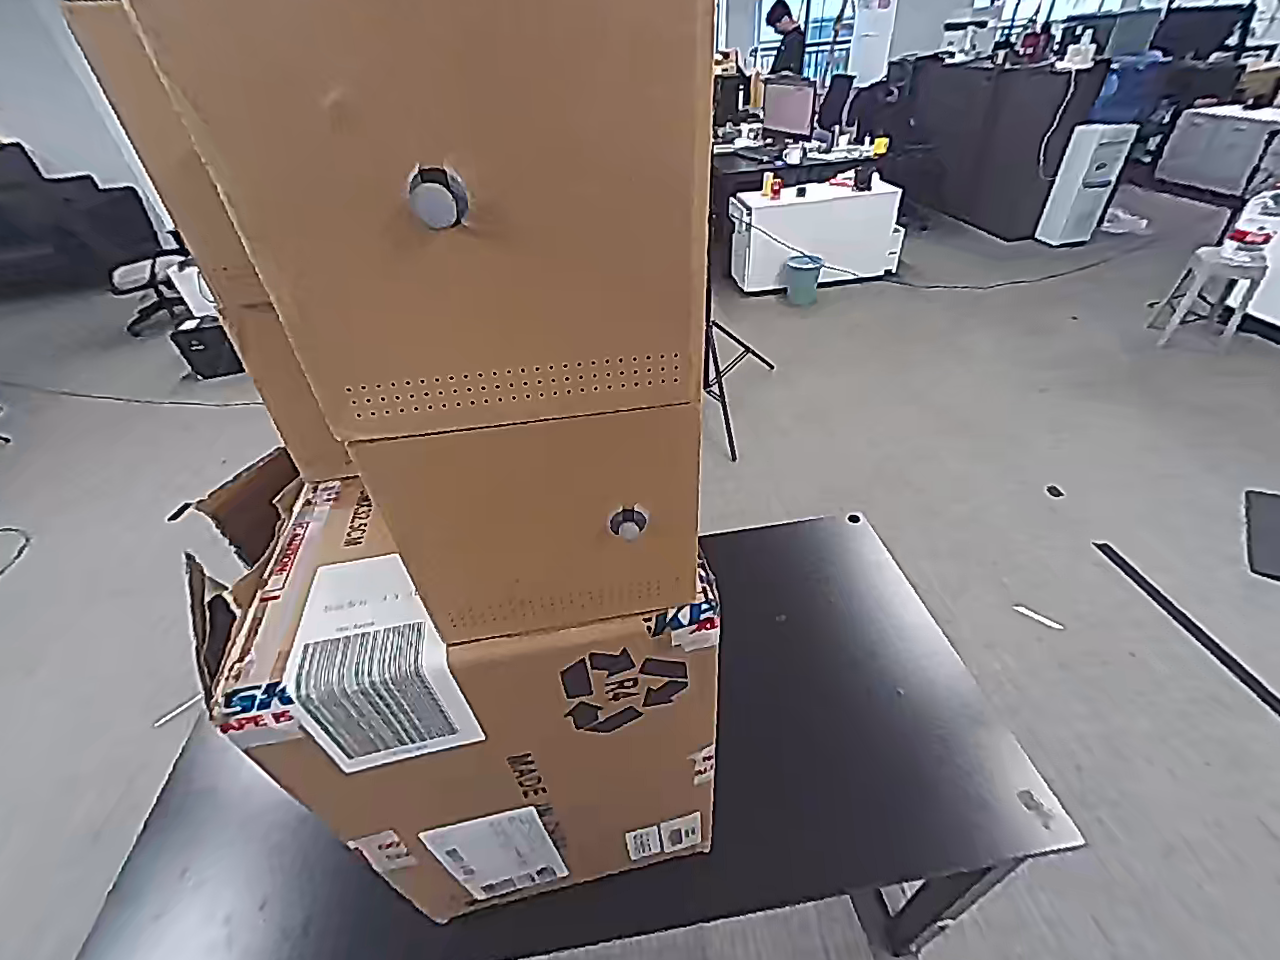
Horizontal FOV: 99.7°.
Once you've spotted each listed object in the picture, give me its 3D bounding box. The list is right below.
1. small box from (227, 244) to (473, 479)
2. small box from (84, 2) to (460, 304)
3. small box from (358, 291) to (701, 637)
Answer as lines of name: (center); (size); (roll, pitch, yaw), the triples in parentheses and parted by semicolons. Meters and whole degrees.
small box: (-0.247, -0.125, 0.529); (0.168, 0.176, 0.179); (-10, 39, -9)
small box: (-0.246, -0.252, 0.423); (0.168, 0.176, 0.179); (-12, 38, -10)
small box: (-0.062, -0.014, 0.384); (0.179, 0.176, 0.168); (-9, 39, -5)
